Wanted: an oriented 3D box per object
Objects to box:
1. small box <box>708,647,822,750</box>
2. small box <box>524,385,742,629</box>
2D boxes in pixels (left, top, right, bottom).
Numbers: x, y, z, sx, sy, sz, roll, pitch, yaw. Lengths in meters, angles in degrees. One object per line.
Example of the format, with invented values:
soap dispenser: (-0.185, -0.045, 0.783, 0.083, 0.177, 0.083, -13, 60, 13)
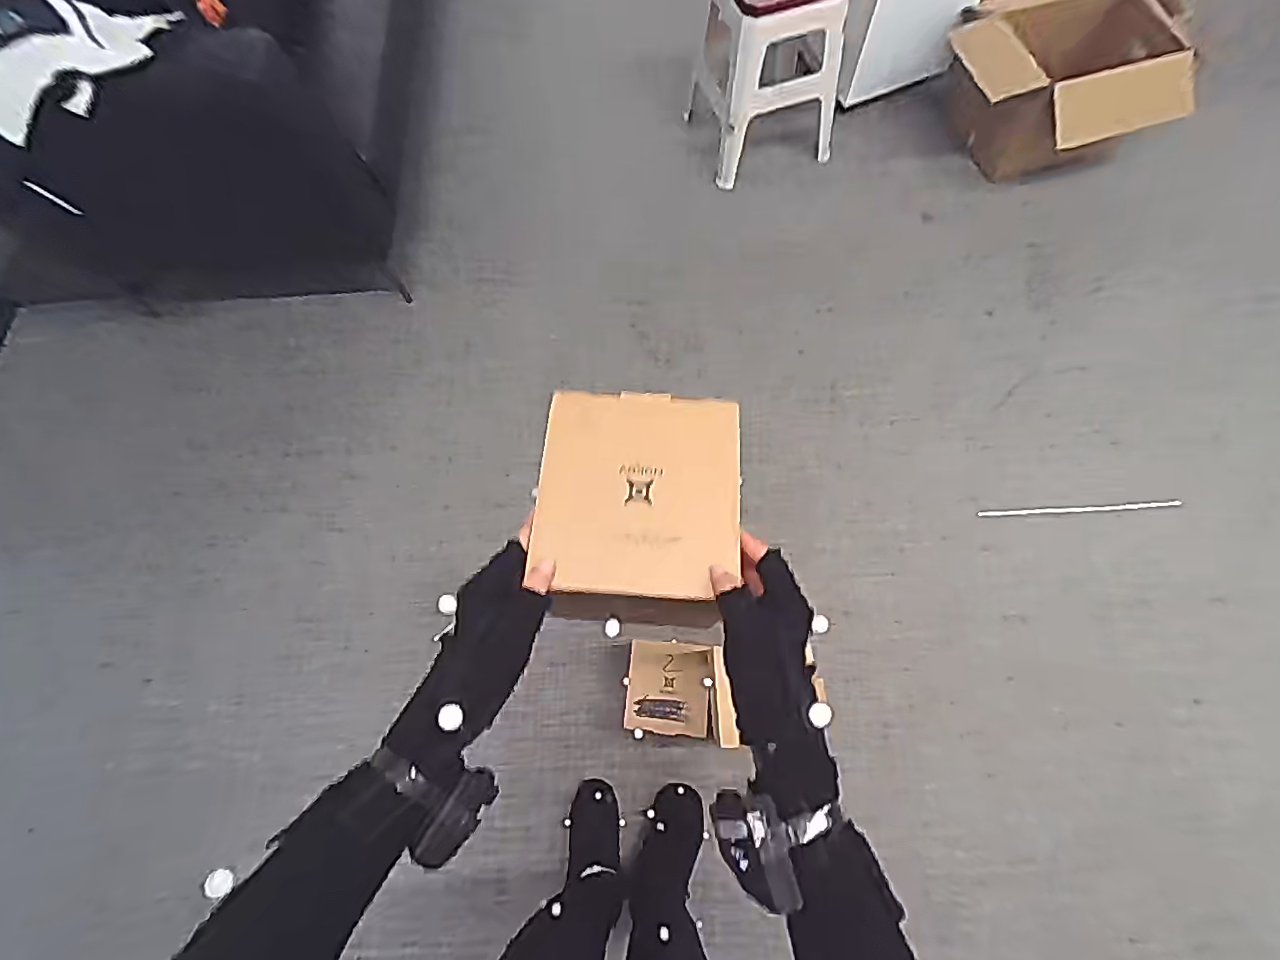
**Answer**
small box: (0.219, 0.403, 1.003, 0.179, 0.176, 0.168, -3, 69, 2)
small box: (-0.002, 0.034, 0.511, 0.168, 0.176, 0.179, 4, 67, 1)
